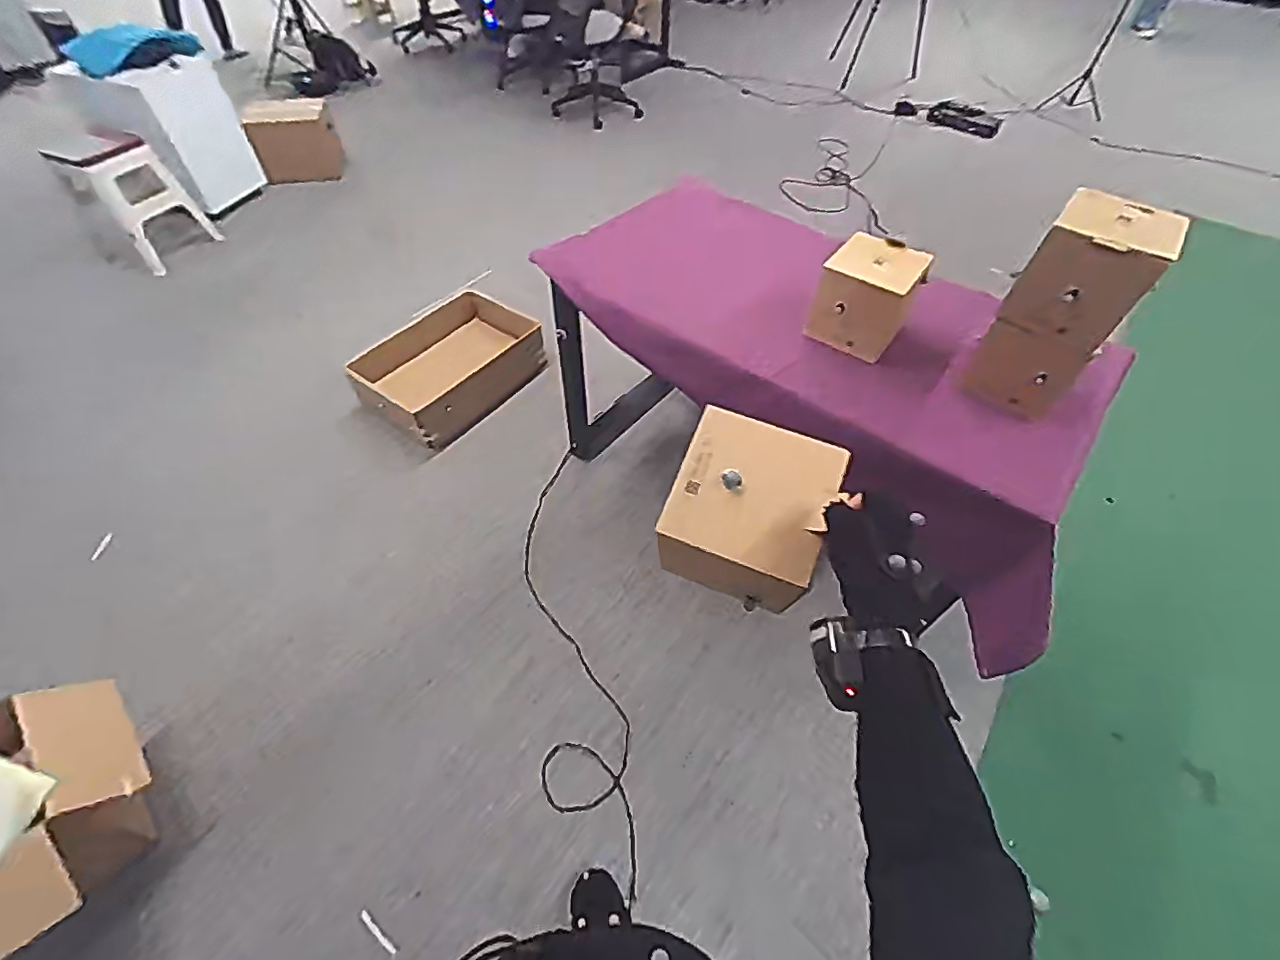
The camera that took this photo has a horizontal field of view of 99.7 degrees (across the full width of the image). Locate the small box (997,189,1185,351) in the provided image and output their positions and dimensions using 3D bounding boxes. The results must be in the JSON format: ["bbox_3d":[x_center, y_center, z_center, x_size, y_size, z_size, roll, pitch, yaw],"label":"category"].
[{"bbox_3d":[0.741,-0.347,0.905,0.168,0.176,0.179,34,59,21],"label":"small box"}]

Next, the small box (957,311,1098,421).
[{"bbox_3d":[0.742,-0.244,1.032,0.168,0.176,0.179,34,58,22],"label":"small box"}]

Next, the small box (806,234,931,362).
[{"bbox_3d":[0.467,-0.377,1.130,0.168,0.176,0.179,31,56,21],"label":"small box"}]
